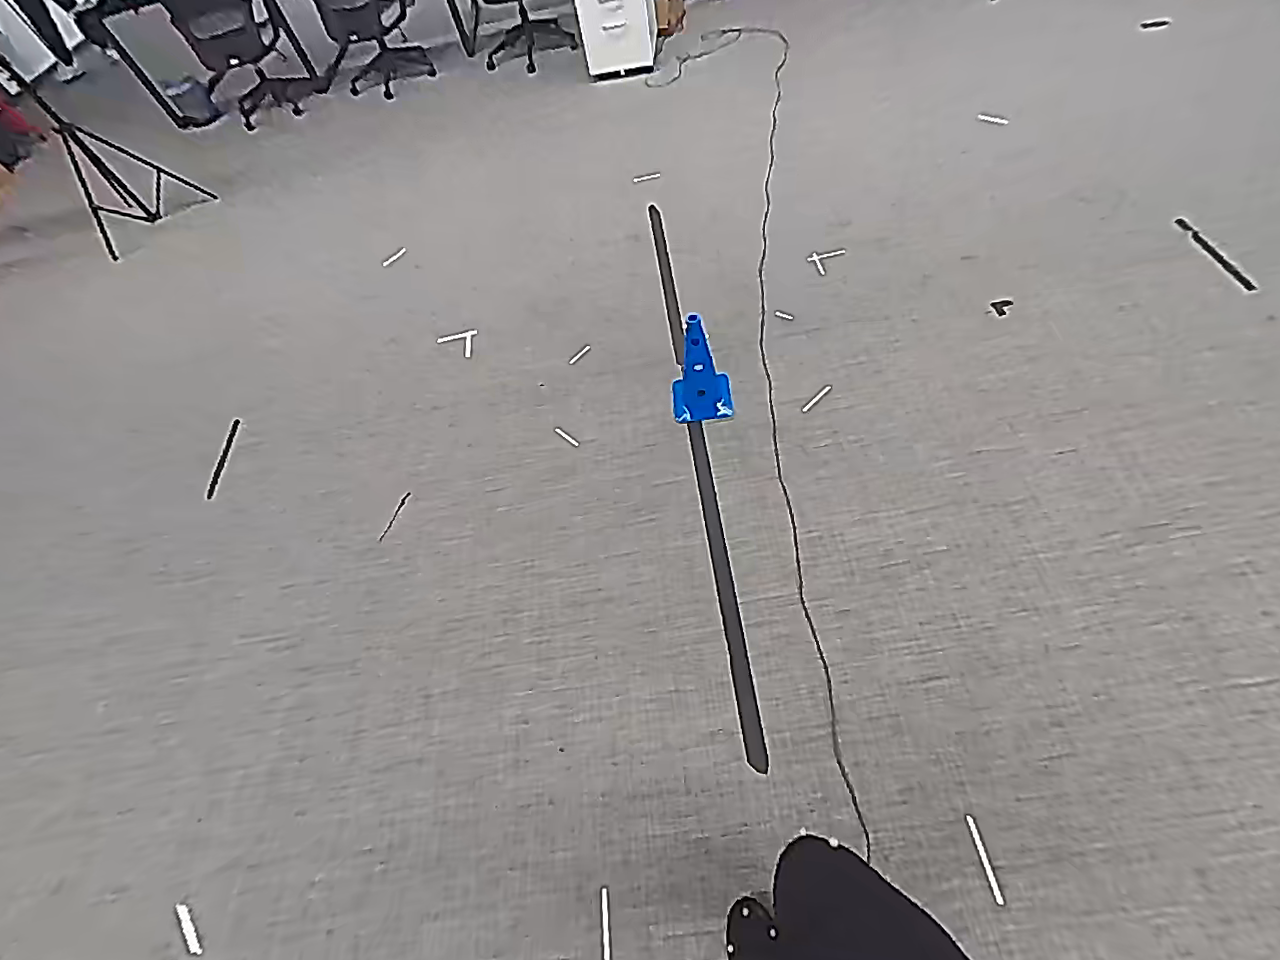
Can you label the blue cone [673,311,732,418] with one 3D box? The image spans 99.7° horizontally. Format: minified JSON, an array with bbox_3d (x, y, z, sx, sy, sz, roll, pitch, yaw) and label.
[{"bbox_3d":[0.185,-0.387,1.730,0.193,0.380,0.192,-7,56,6],"label":"blue cone"}]
